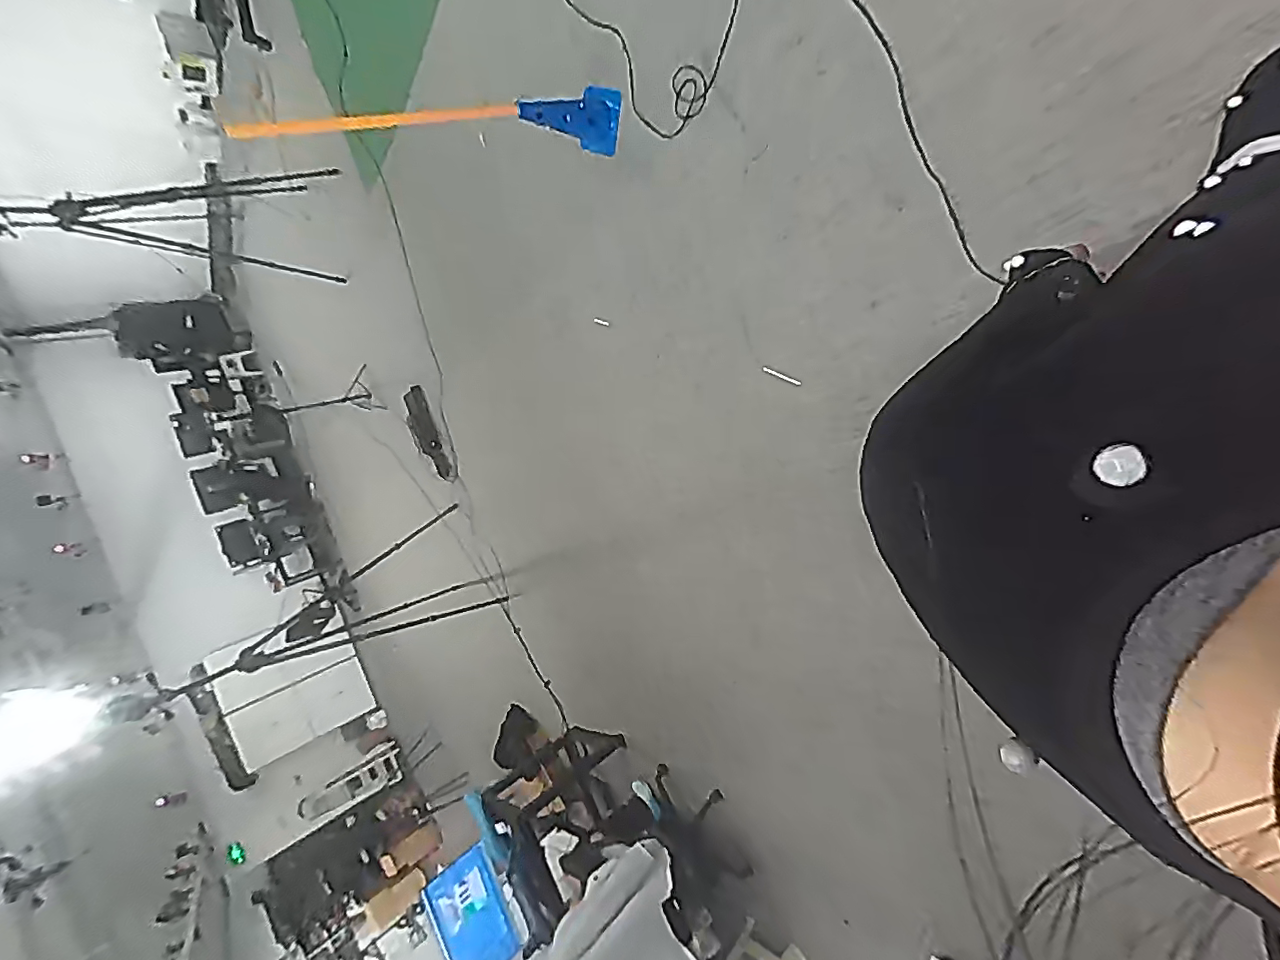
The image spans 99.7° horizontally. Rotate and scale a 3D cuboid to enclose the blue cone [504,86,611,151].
[{"bbox_3d":[-0.287,-1.243,1.836,0.192,0.380,0.193,34,132,32],"label":"blue cone"}]
